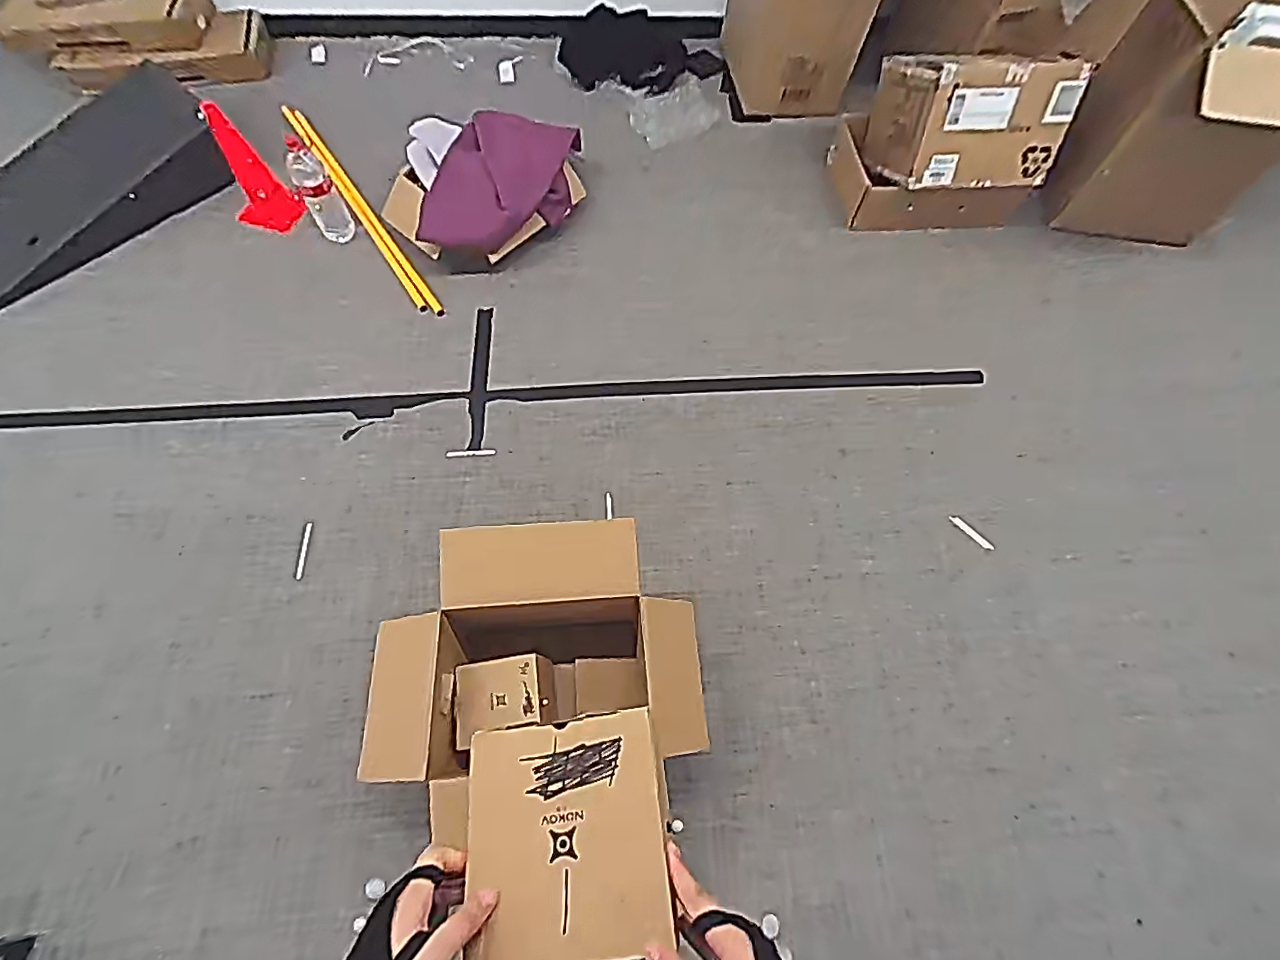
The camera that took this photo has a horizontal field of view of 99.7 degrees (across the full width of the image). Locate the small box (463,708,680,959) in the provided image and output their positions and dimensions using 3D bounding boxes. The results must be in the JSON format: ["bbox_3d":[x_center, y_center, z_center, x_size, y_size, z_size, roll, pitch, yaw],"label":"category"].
[{"bbox_3d":[-0.055,0.335,0.519,0.168,0.176,0.179,-8,57,1],"label":"small box"}]
